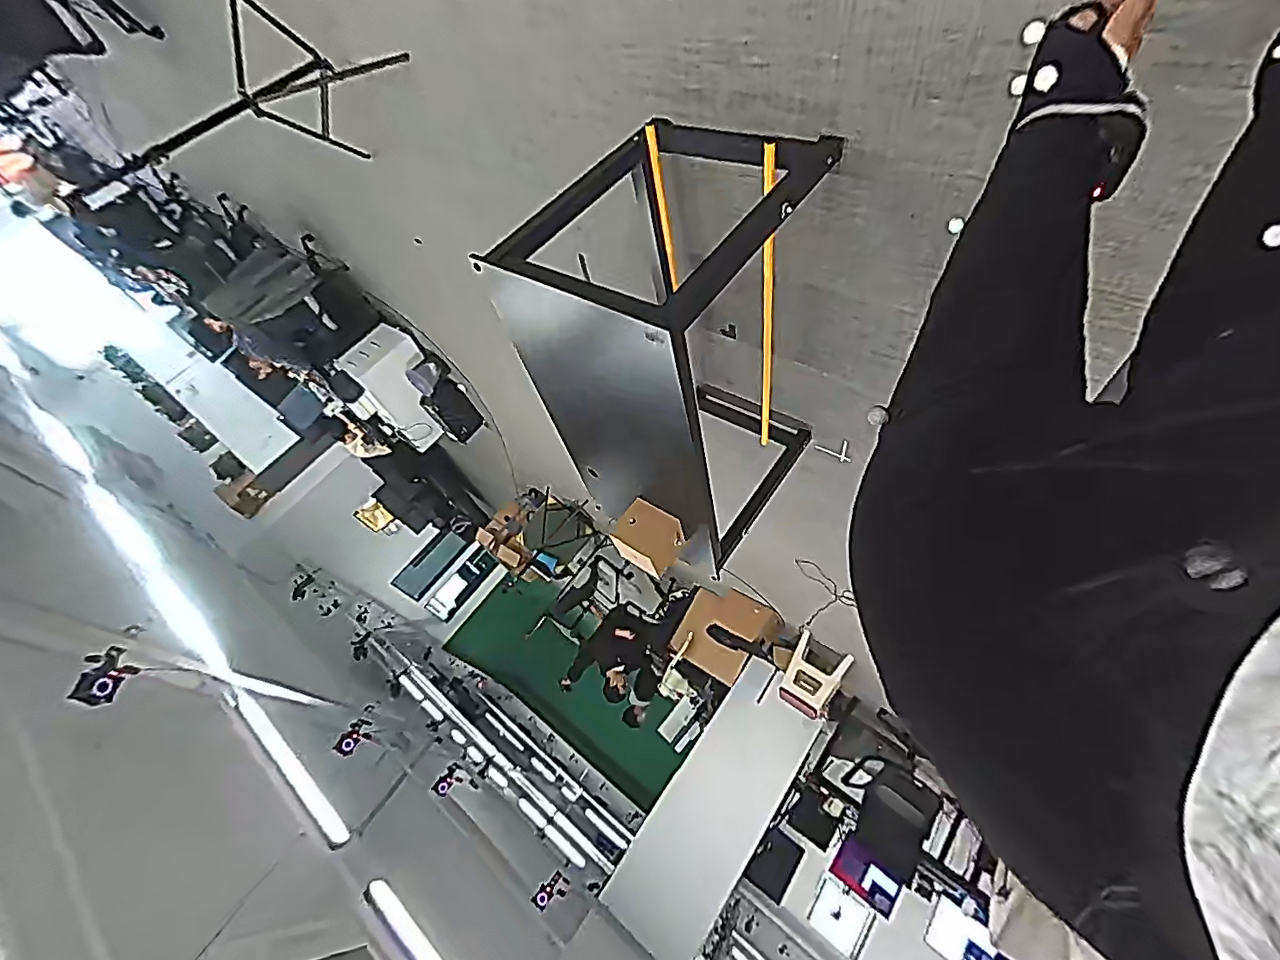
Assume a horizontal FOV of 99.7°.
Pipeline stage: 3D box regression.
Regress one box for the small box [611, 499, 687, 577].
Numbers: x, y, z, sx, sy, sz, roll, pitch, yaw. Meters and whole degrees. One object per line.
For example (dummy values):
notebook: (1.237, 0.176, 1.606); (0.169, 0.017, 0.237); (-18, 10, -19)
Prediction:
small box: (0.035, 0.189, 1.824); (0.179, 0.176, 0.168); (27, 157, 30)
